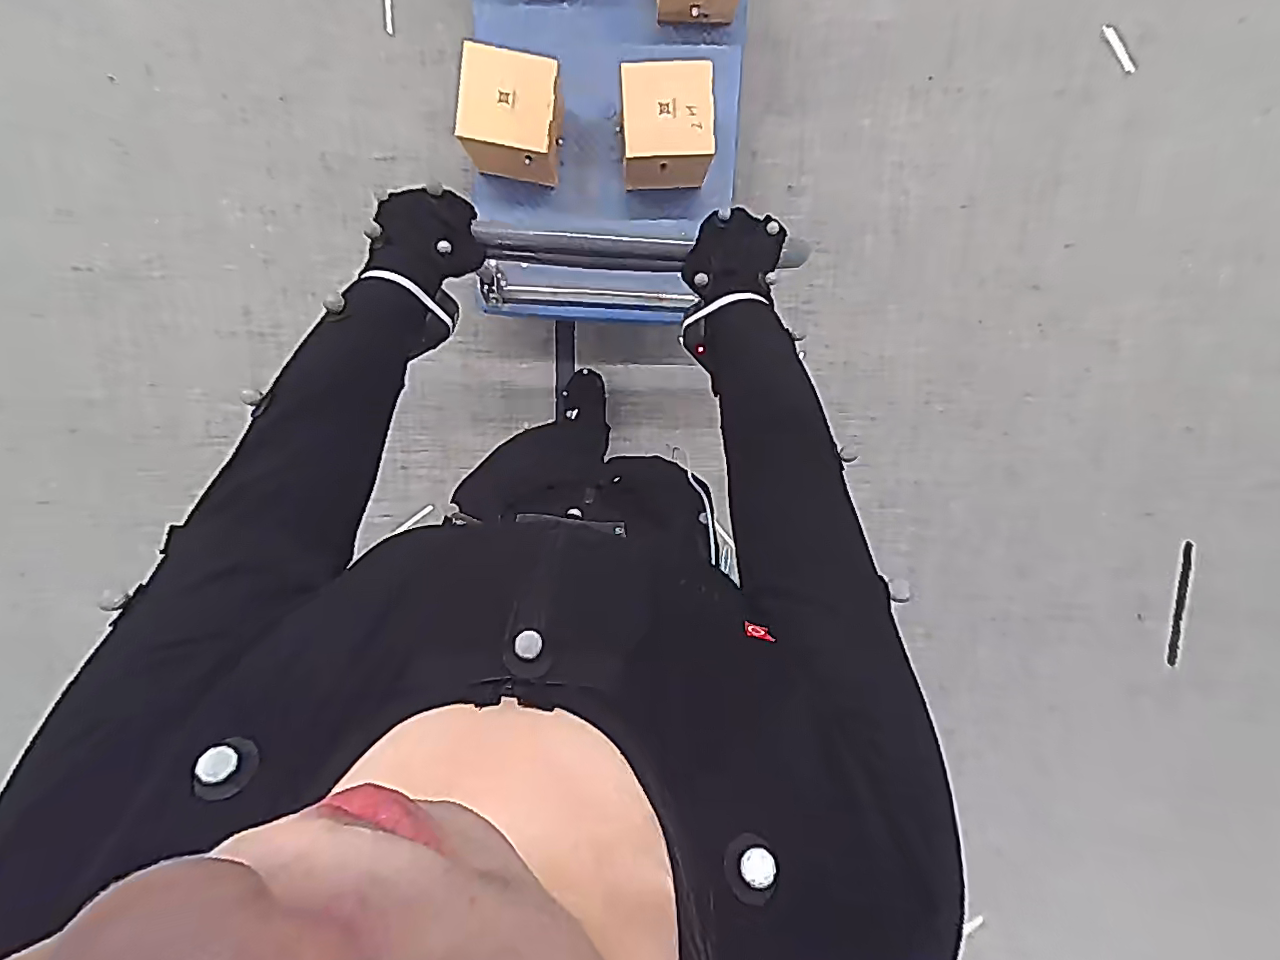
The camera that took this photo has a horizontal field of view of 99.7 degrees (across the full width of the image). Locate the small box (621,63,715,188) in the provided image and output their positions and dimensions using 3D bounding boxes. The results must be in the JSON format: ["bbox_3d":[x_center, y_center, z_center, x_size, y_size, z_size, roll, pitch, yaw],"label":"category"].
[{"bbox_3d":[0.052,-0.715,1.109,0.179,0.176,0.168,-3,100,-2],"label":"small box"}]

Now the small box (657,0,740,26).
[{"bbox_3d":[0.122,-1.044,1.058,0.168,0.176,0.179,-1,101,-3],"label":"small box"}]

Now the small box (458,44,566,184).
[{"bbox_3d":[-0.251,-0.726,1.093,0.179,0.176,0.168,8,99,-6],"label":"small box"}]
